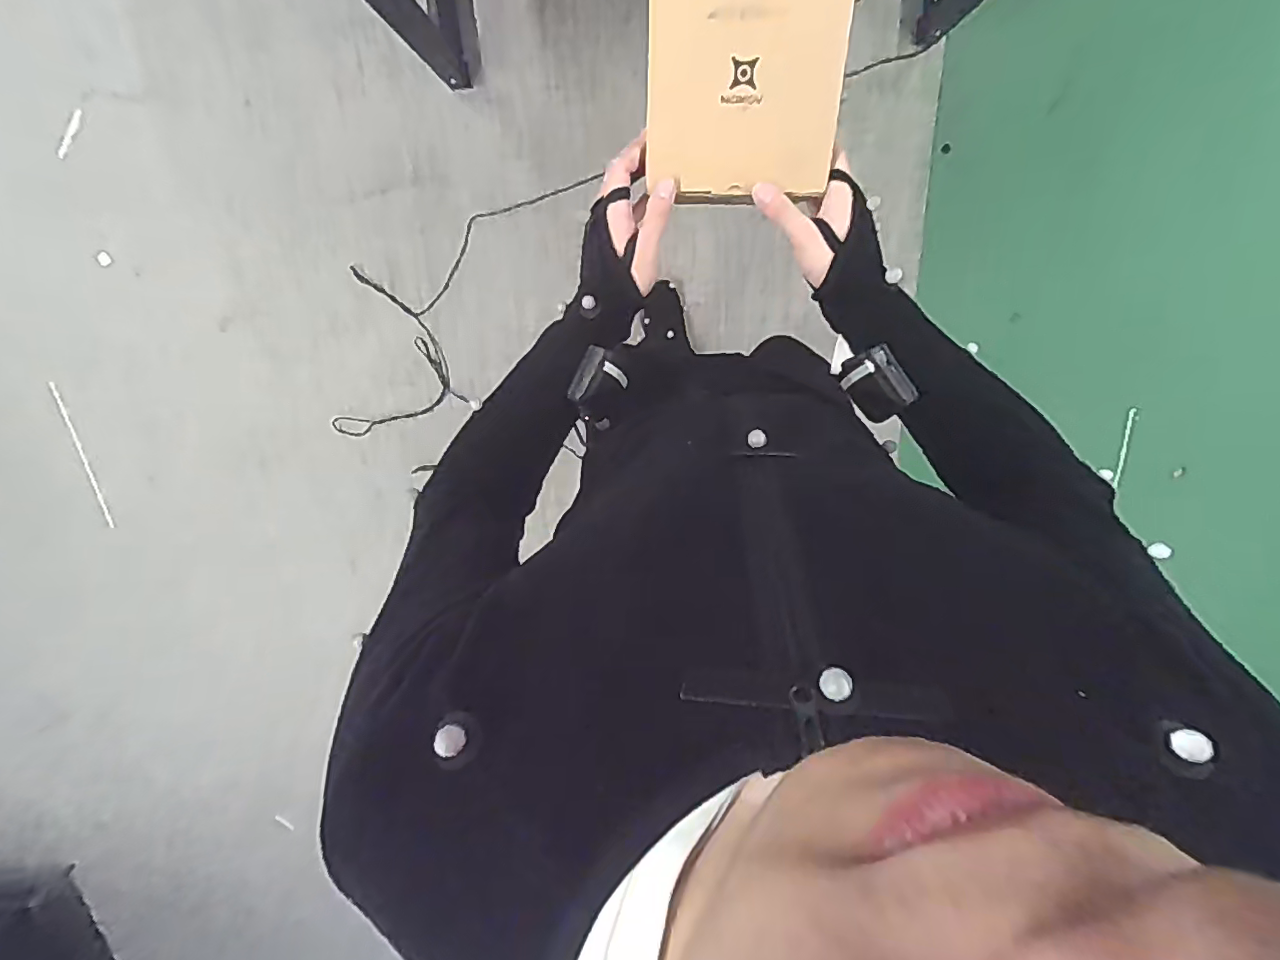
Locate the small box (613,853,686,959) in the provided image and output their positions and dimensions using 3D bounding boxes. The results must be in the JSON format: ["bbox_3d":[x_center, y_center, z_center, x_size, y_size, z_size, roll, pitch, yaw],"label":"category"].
[{"bbox_3d":[0.023,1.046,1.313,0.168,0.176,0.179,1,109,3],"label":"small box"}]
